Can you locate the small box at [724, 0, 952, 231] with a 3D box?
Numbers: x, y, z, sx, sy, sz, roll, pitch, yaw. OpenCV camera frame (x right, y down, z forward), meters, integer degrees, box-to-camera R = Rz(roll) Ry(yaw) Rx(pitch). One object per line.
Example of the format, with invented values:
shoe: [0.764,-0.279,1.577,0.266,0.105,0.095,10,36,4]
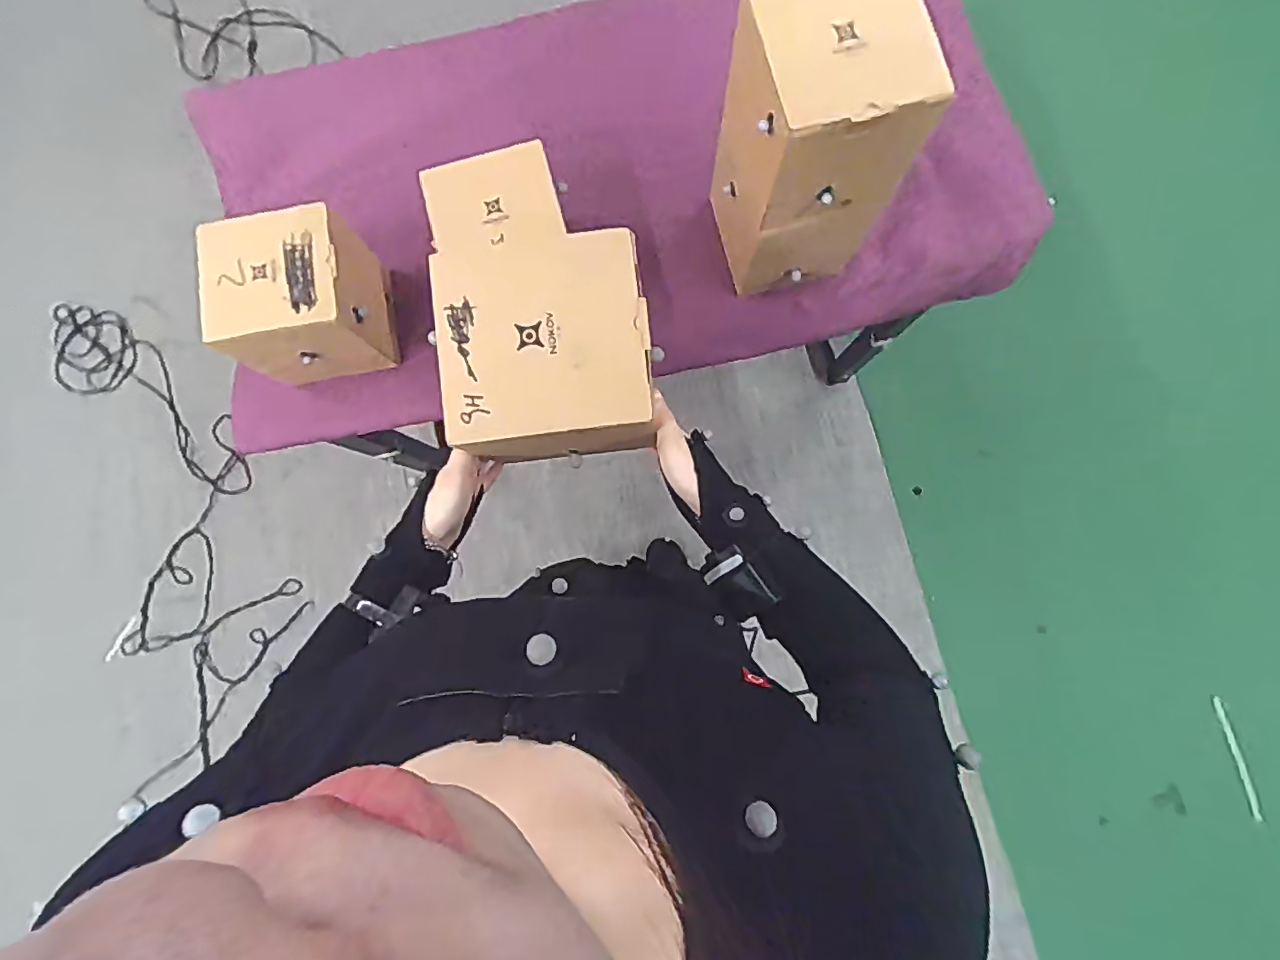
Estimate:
small box: [0.201,-0.420,0.607,0.168,0.176,0.179,-15,83,0]

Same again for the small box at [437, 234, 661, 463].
small box: [-0.077,-0.112,0.525,0.179,0.176,0.168,-6,85,0]

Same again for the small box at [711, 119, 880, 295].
small box: [0.205,-0.395,0.768,0.168,0.176,0.179,-14,83,0]

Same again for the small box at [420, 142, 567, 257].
small box: [-0.184,-0.325,0.766,0.168,0.176,0.179,-16,82,0]
